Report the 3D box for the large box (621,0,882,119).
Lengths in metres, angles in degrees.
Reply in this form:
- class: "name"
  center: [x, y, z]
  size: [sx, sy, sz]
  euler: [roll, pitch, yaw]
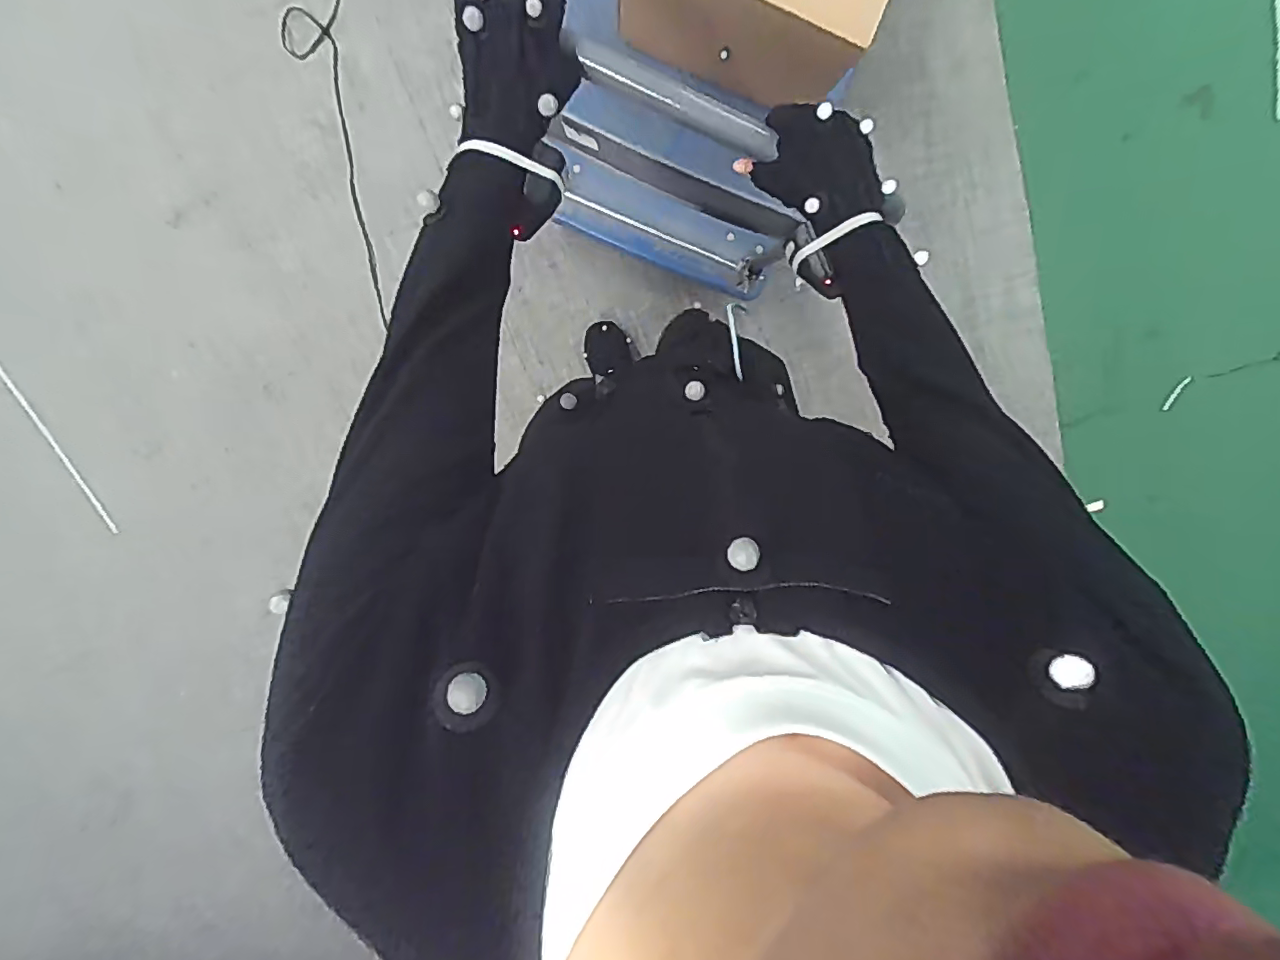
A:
- class: "large box"
  center: [0.203, -0.904, 0.923]
  size: [0.408, 0.320, 0.320]
  euler: [19, 103, -8]
